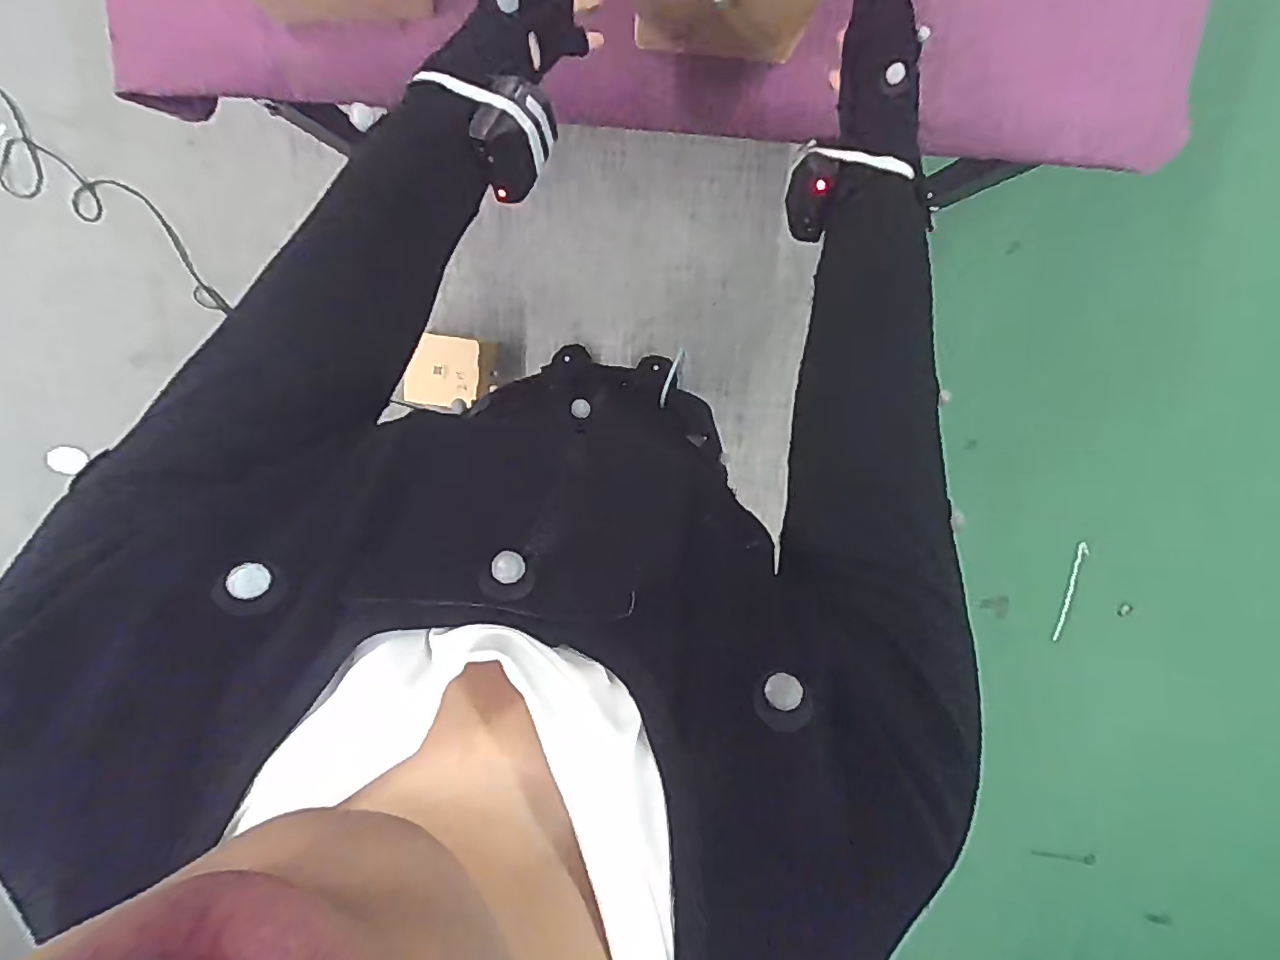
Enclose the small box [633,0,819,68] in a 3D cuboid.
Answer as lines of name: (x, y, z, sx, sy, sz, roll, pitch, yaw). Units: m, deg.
small box: (0.088, -0.540, 0.528, 0.179, 0.176, 0.168, 6, 103, -2)
